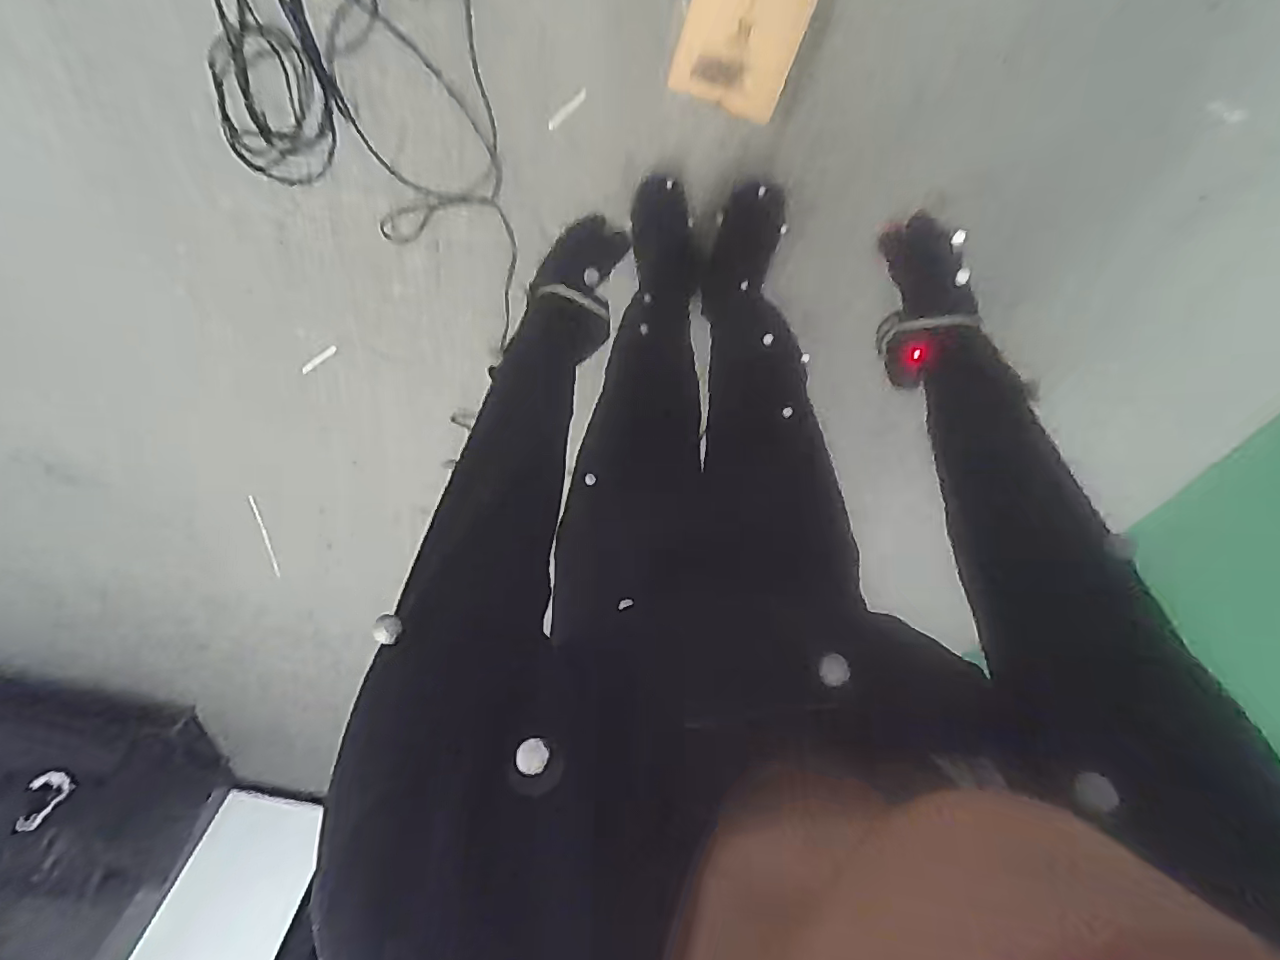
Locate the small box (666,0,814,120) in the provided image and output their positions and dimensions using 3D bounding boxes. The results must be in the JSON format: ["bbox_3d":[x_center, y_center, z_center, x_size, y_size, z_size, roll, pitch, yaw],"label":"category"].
[{"bbox_3d":[0.150,-0.685,0.817,0.168,0.176,0.179,17,131,-7],"label":"small box"}]
